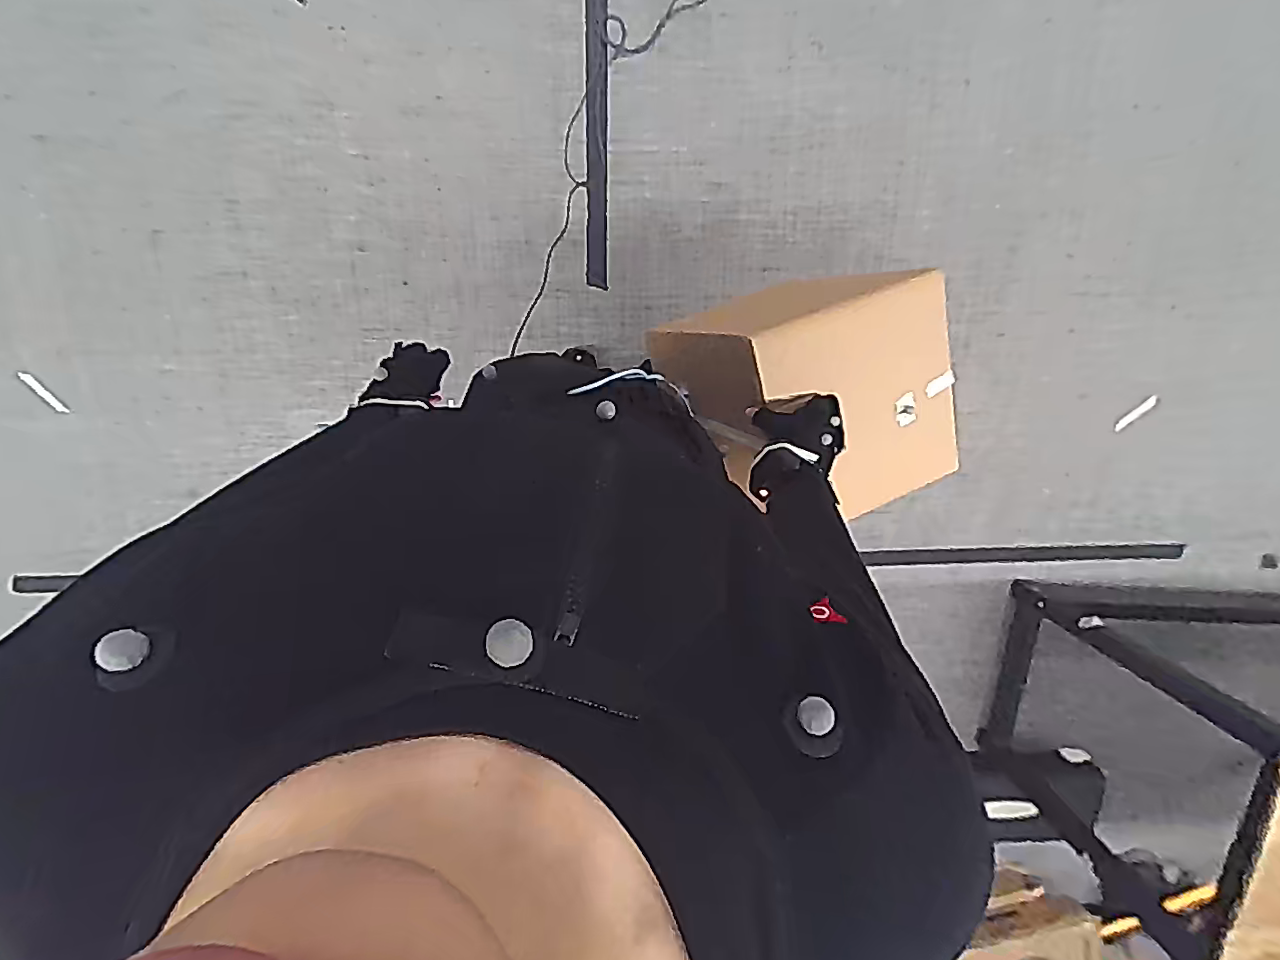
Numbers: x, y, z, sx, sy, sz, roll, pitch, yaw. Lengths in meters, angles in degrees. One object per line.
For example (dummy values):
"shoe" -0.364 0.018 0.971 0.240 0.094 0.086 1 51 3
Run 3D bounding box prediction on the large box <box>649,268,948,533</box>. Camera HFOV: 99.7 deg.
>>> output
"large box" 0.257 -0.159 0.962 0.320 0.408 0.320 -22 111 -11
